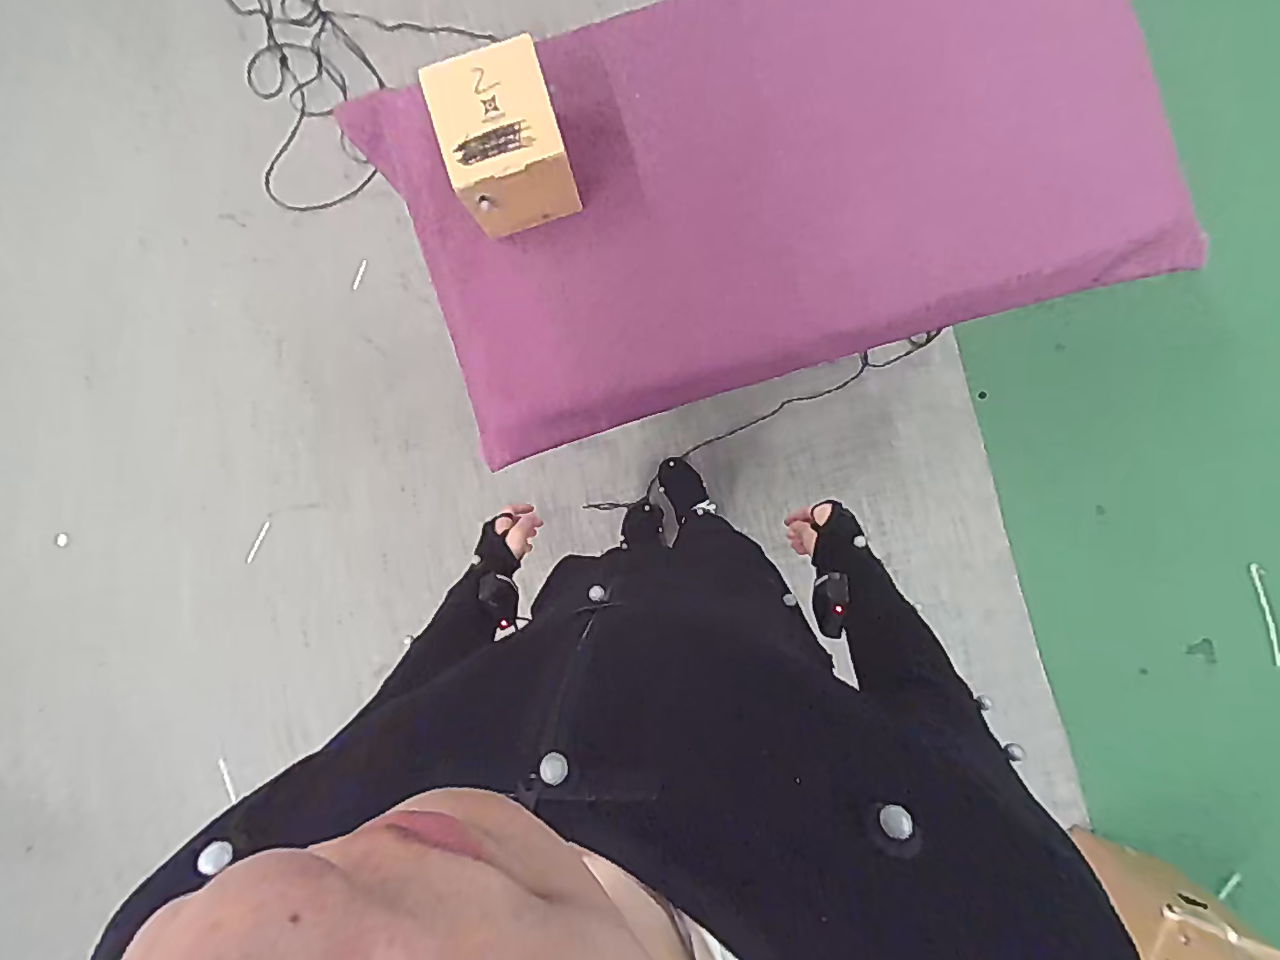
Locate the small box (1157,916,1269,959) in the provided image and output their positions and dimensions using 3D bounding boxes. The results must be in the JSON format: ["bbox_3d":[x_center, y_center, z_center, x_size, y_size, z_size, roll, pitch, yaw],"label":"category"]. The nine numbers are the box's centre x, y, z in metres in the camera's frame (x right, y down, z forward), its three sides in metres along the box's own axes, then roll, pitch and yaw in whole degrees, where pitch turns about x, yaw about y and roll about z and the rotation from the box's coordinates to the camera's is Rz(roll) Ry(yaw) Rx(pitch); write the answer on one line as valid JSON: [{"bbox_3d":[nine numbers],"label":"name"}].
[{"bbox_3d":[1.346,1.151,1.227,0.179,0.176,0.168,23,93,1],"label":"small box"}]
